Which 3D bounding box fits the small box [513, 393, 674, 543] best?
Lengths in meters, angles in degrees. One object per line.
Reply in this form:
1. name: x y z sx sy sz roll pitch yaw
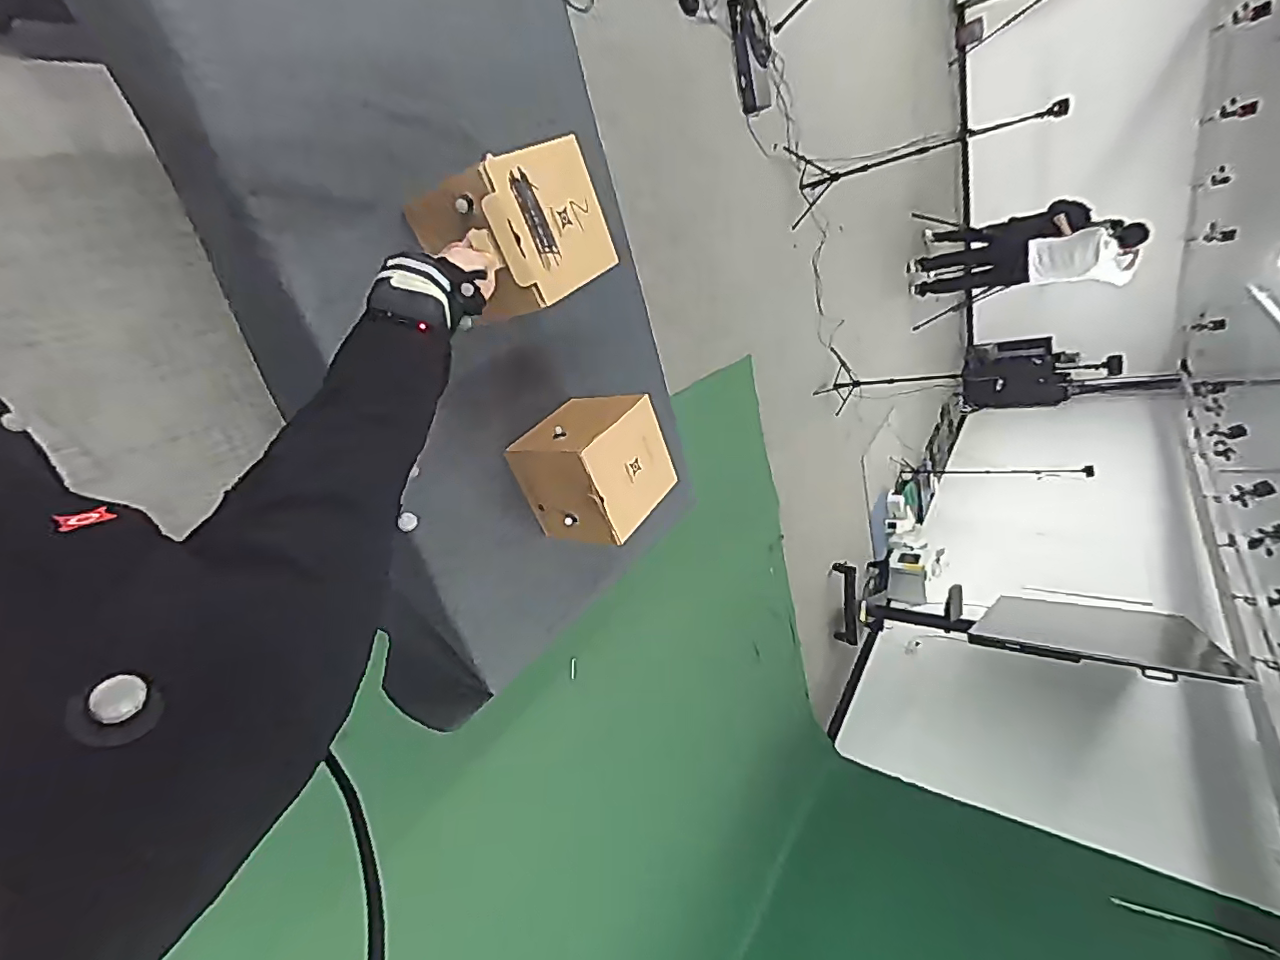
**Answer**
1. small box: -0.076 -0.022 0.856 0.179 0.176 0.168 -48 129 -40
